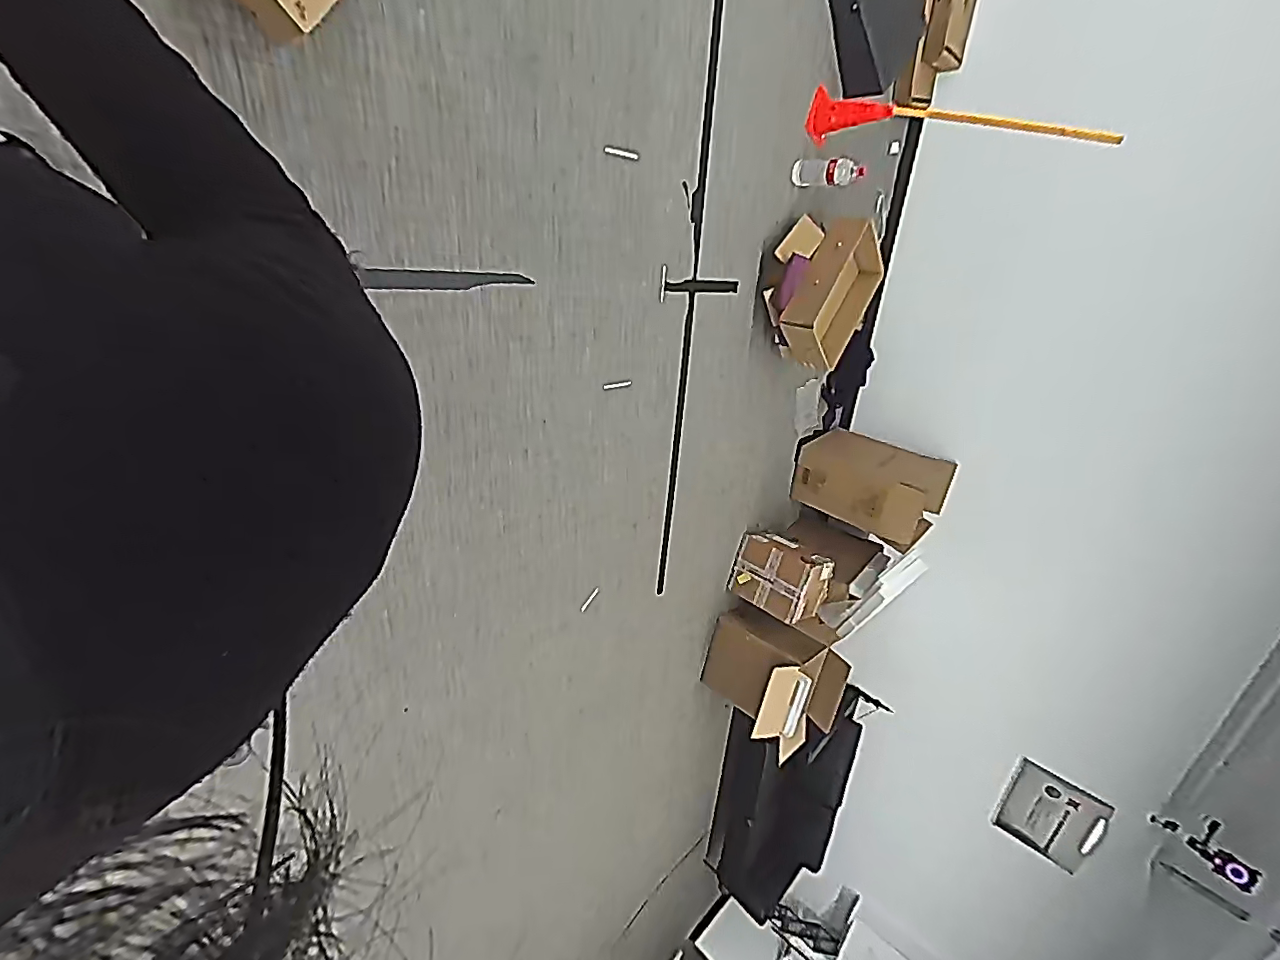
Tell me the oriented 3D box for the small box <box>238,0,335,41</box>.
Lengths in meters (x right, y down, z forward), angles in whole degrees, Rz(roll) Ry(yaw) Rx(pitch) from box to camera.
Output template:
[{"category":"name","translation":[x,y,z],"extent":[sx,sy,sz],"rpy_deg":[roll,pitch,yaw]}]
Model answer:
[{"category":"small box","translation":[-0.678,-0.978,1.016],"extent":[0.179,0.176,0.168],"rpy_deg":[-57,141,-10]}]
